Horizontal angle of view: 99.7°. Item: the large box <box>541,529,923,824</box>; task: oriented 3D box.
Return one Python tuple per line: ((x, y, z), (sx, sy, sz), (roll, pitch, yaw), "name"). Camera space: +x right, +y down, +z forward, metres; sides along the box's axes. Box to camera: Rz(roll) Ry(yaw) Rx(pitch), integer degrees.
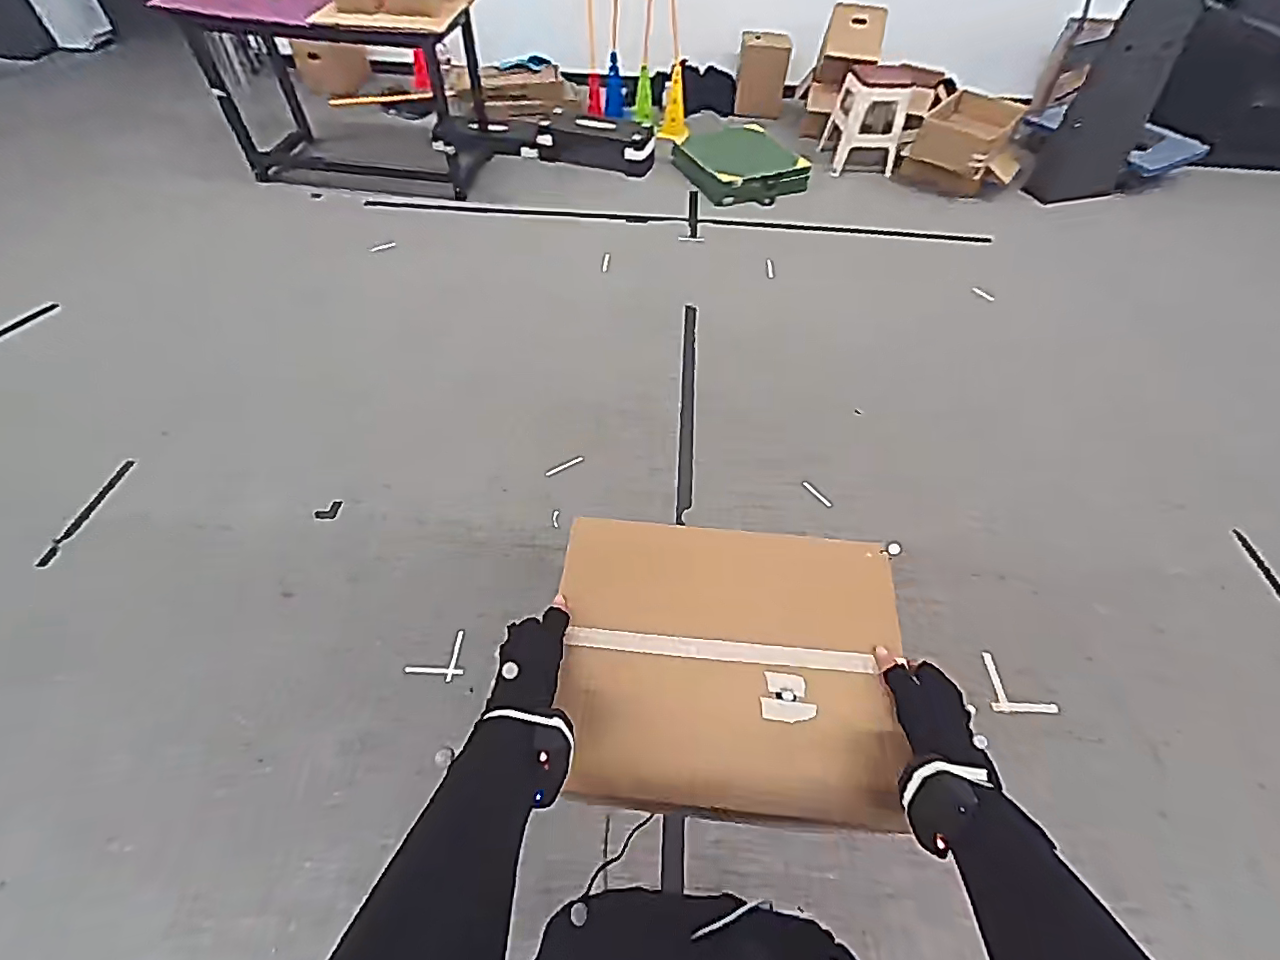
((0.101, 0.286, 0.761), (0.408, 0.320, 0.320), (4, 58, 3), "large box")
